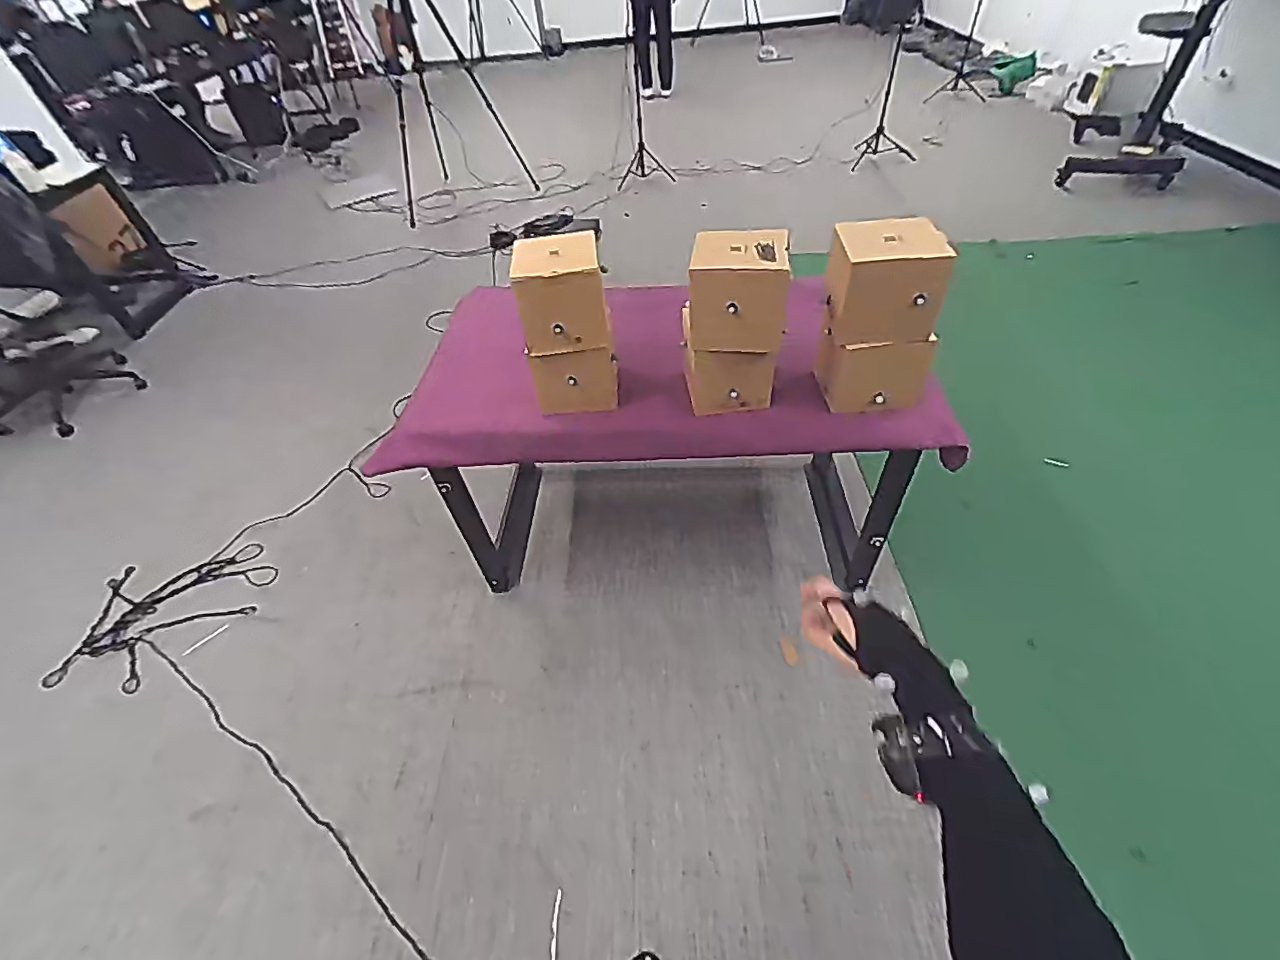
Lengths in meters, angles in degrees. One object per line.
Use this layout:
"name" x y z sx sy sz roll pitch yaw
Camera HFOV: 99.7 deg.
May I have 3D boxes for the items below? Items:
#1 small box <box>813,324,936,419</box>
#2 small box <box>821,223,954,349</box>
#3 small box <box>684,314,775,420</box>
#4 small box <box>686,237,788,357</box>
"small box" 0.481 -0.247 1.140 0.179 0.176 0.168 -5 46 2
"small box" 0.456 -0.364 1.028 0.179 0.176 0.168 -1 47 7
"small box" 0.187 -0.253 1.180 0.168 0.176 0.179 -7 45 1
"small box" 0.188 -0.351 1.045 0.179 0.176 0.168 3 46 11
